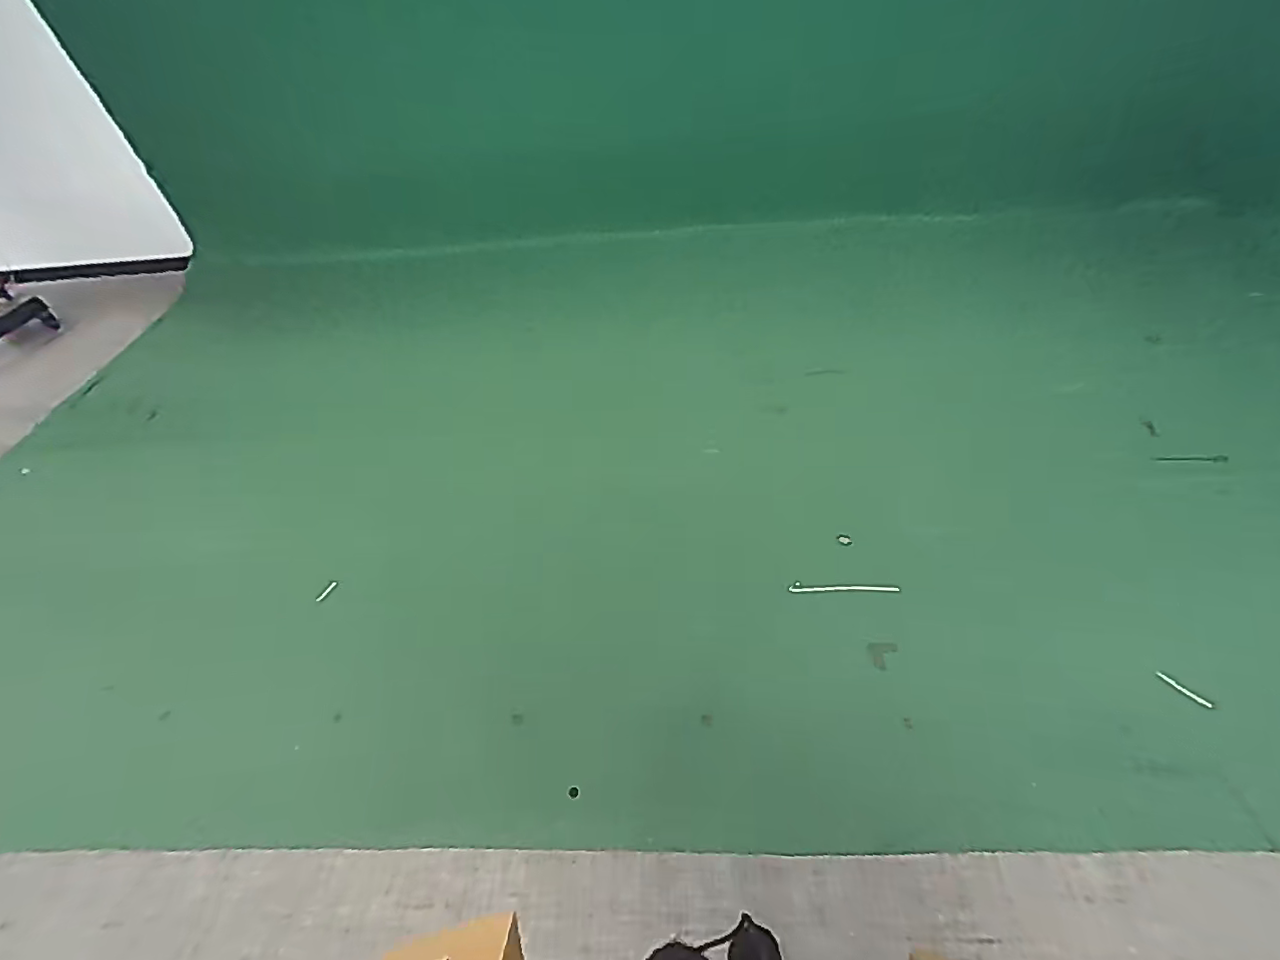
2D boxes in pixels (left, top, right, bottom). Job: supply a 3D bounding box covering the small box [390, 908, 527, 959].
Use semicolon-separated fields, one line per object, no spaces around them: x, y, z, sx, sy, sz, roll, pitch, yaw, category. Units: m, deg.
-0.220;0.668;0.640;0.168;0.179;0.176;-12;80;-8;small box
